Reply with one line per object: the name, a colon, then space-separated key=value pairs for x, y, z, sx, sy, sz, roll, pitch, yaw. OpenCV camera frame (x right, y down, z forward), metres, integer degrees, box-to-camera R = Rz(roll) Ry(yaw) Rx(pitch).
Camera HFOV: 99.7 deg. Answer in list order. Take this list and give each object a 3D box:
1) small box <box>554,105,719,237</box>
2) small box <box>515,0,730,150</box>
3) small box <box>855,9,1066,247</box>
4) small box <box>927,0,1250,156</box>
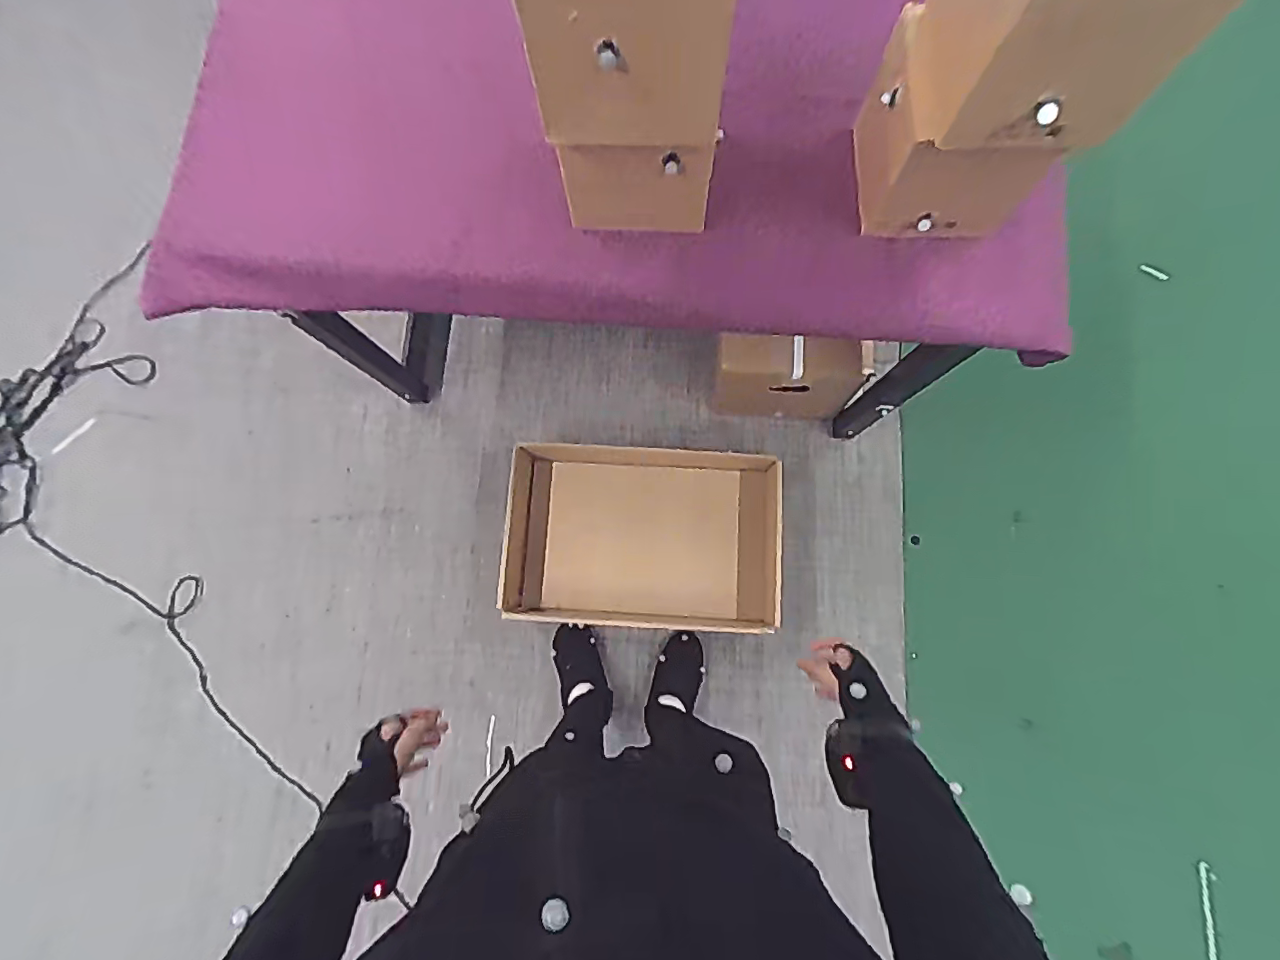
small box: x=0.000 y=-0.419 z=0.657 sx=0.179 sy=0.176 sz=0.168 roll=3 pitch=78 yaw=3
small box: x=-0.010 y=-0.433 z=0.493 sx=0.179 sy=0.176 sz=0.168 roll=1 pitch=79 yaw=3
small box: x=0.367 y=-0.407 z=0.644 sx=0.168 sy=0.176 sz=0.179 roll=1 pitch=78 yaw=4
small box: x=0.376 y=-0.427 z=0.480 sx=0.168 sy=0.176 sz=0.179 roll=1 pitch=79 yaw=4
